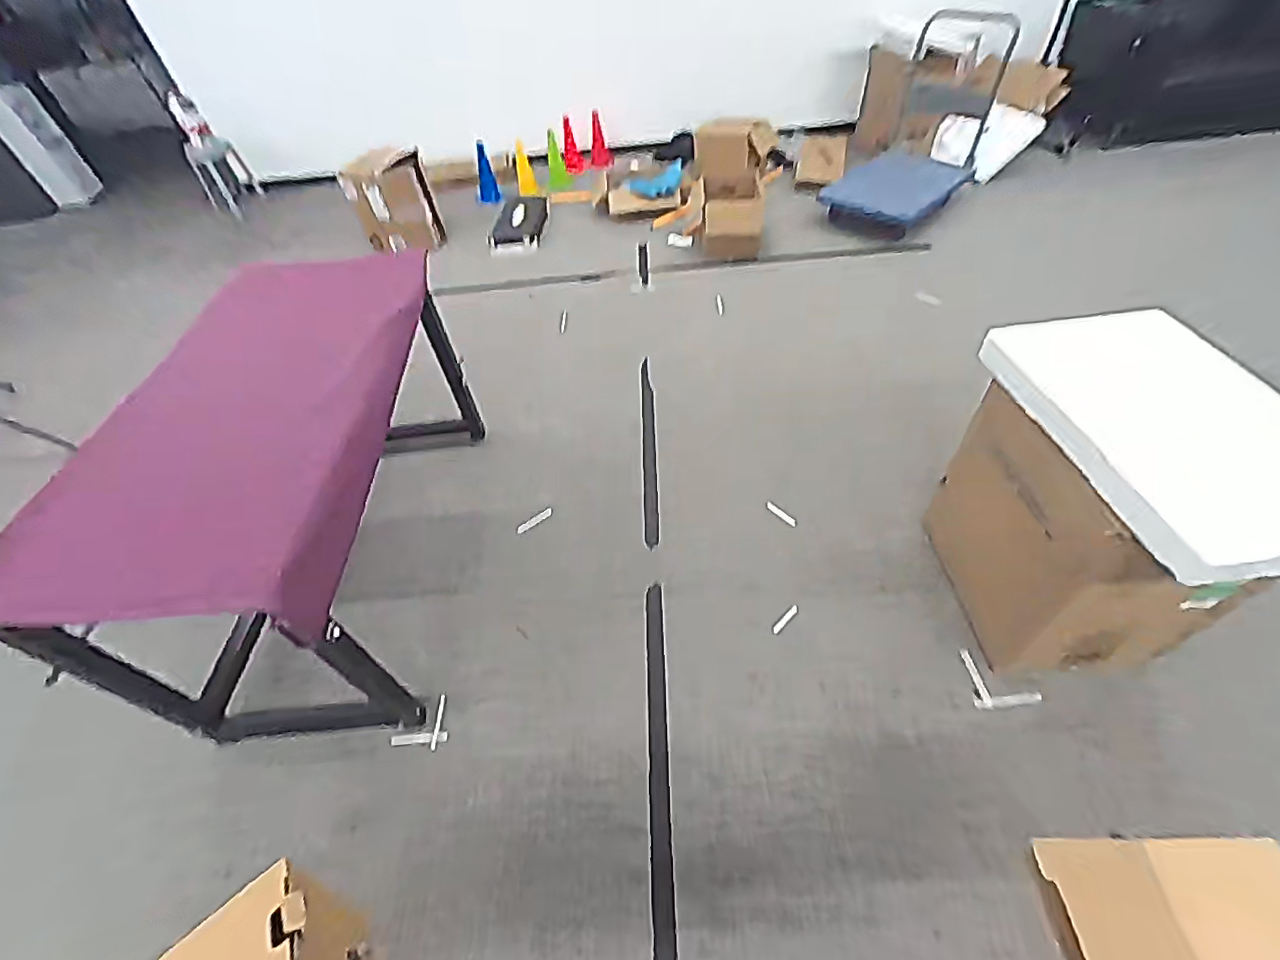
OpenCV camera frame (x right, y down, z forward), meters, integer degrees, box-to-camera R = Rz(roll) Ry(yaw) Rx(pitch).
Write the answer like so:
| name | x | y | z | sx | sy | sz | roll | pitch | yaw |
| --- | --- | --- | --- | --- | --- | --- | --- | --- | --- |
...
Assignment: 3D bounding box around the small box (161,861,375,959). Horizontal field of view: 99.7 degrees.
| name | x | y | z | sx | sy | sz | roll | pitch | yaw |
| --- | --- | --- | --- | --- | --- | --- | --- | --- | --- |
| small box | -0.395 | 0.563 | 0.558 | 0.179 | 0.176 | 0.168 | -36 | 31 | -25 |
